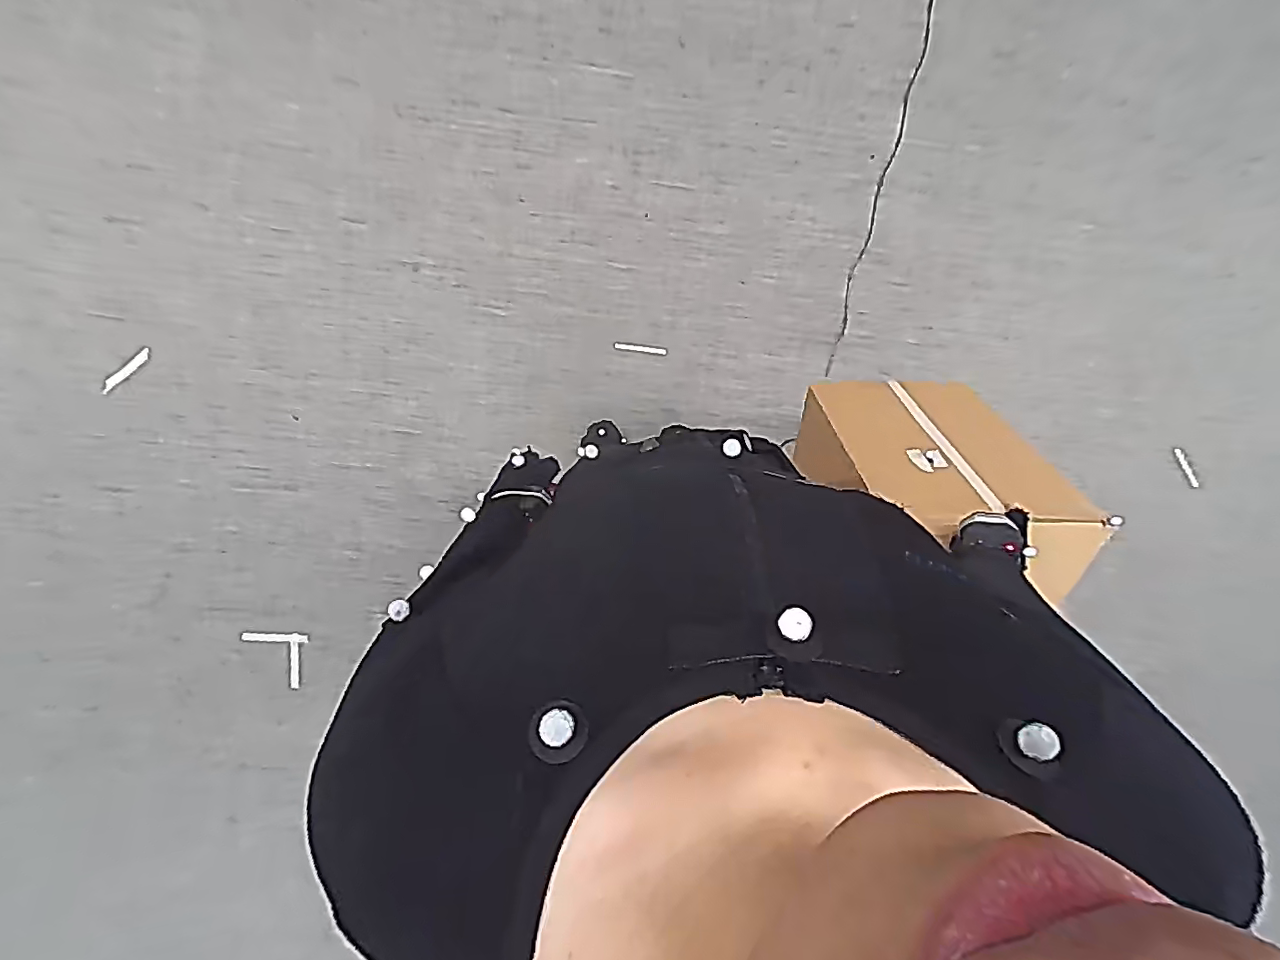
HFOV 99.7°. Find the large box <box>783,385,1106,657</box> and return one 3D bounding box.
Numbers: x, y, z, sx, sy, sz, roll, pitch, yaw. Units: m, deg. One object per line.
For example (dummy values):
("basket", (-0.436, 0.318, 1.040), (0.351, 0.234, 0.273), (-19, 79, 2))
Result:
("large box", (0.481, 0.062, 0.984), (0.320, 0.408, 0.320), (0, 129, -1))
